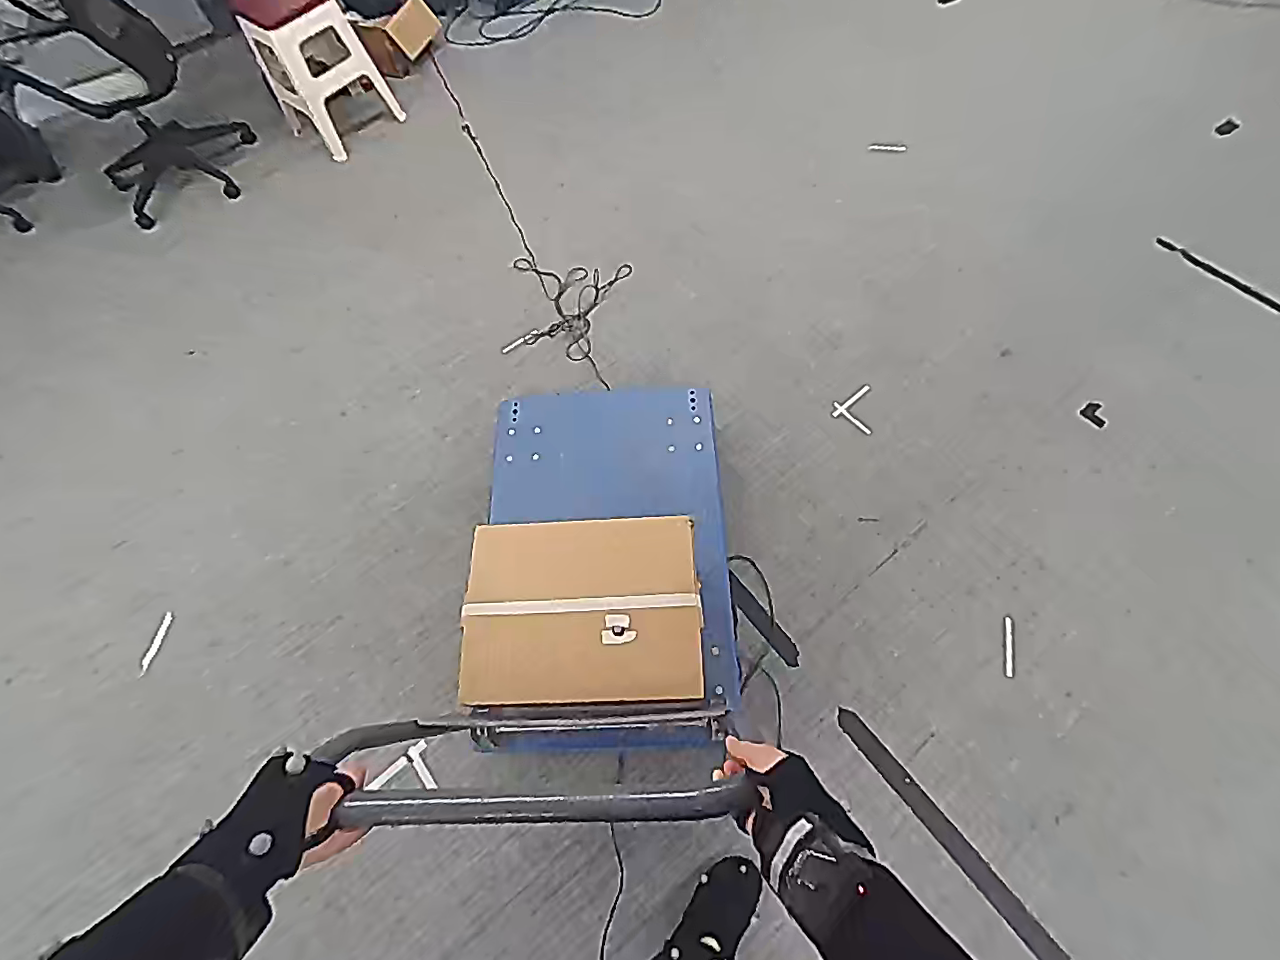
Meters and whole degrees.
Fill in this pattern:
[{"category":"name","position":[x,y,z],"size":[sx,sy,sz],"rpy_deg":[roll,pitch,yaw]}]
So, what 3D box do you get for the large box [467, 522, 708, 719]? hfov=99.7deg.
[{"category":"large box","position":[-0.087,0.292,1.072],"size":[0.408,0.320,0.320],"rpy_deg":[-3,65,2]}]
